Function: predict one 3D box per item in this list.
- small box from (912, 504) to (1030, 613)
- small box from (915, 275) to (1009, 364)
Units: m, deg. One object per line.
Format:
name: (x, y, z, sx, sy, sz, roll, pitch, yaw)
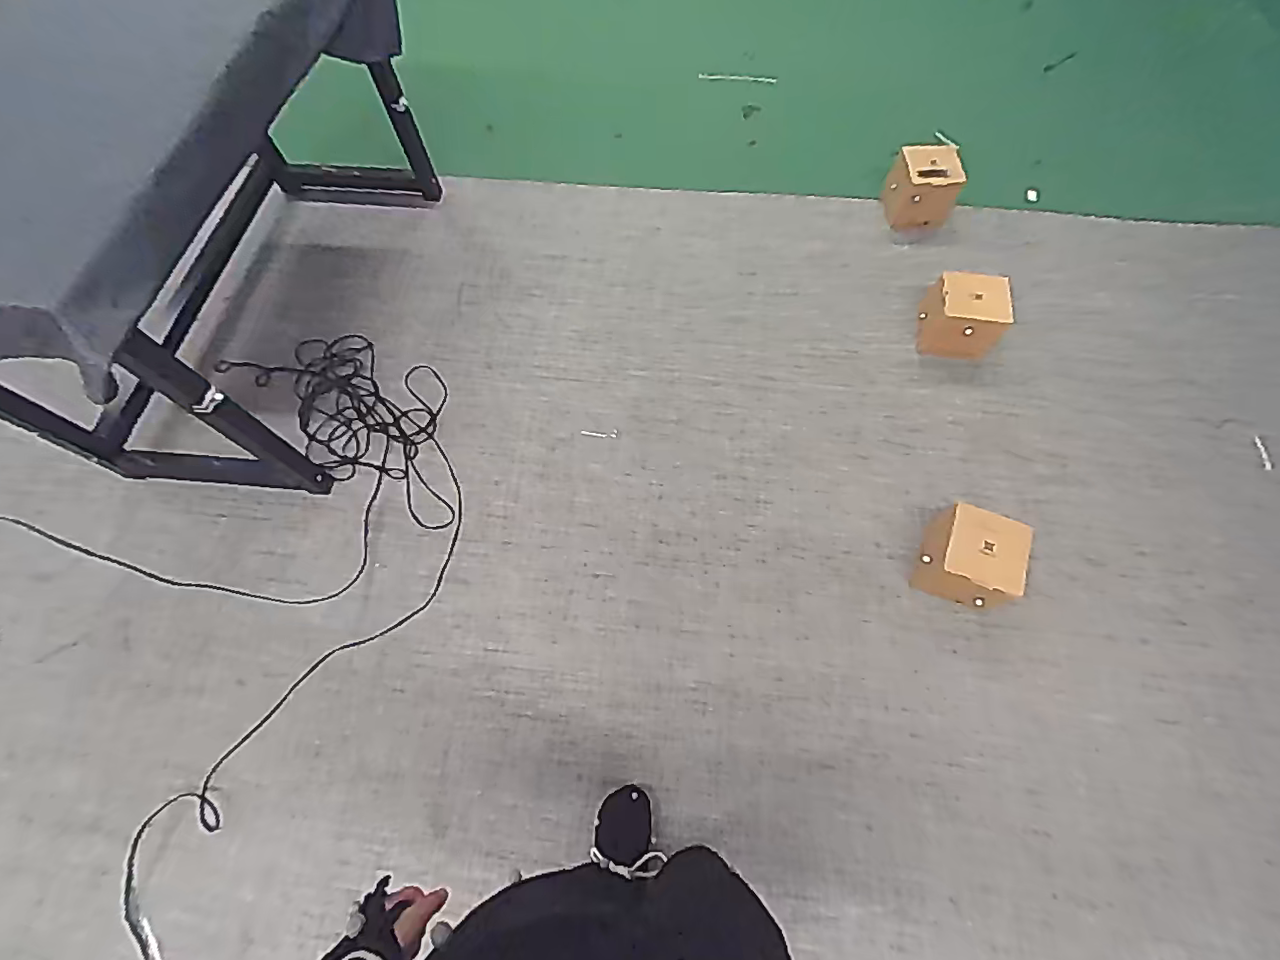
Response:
small box: (0.757, 0.189, 1.251, 0.168, 0.176, 0.179, 21, 67, 10)
small box: (0.910, -0.453, 1.542, 0.179, 0.176, 0.168, 9, 66, 6)
